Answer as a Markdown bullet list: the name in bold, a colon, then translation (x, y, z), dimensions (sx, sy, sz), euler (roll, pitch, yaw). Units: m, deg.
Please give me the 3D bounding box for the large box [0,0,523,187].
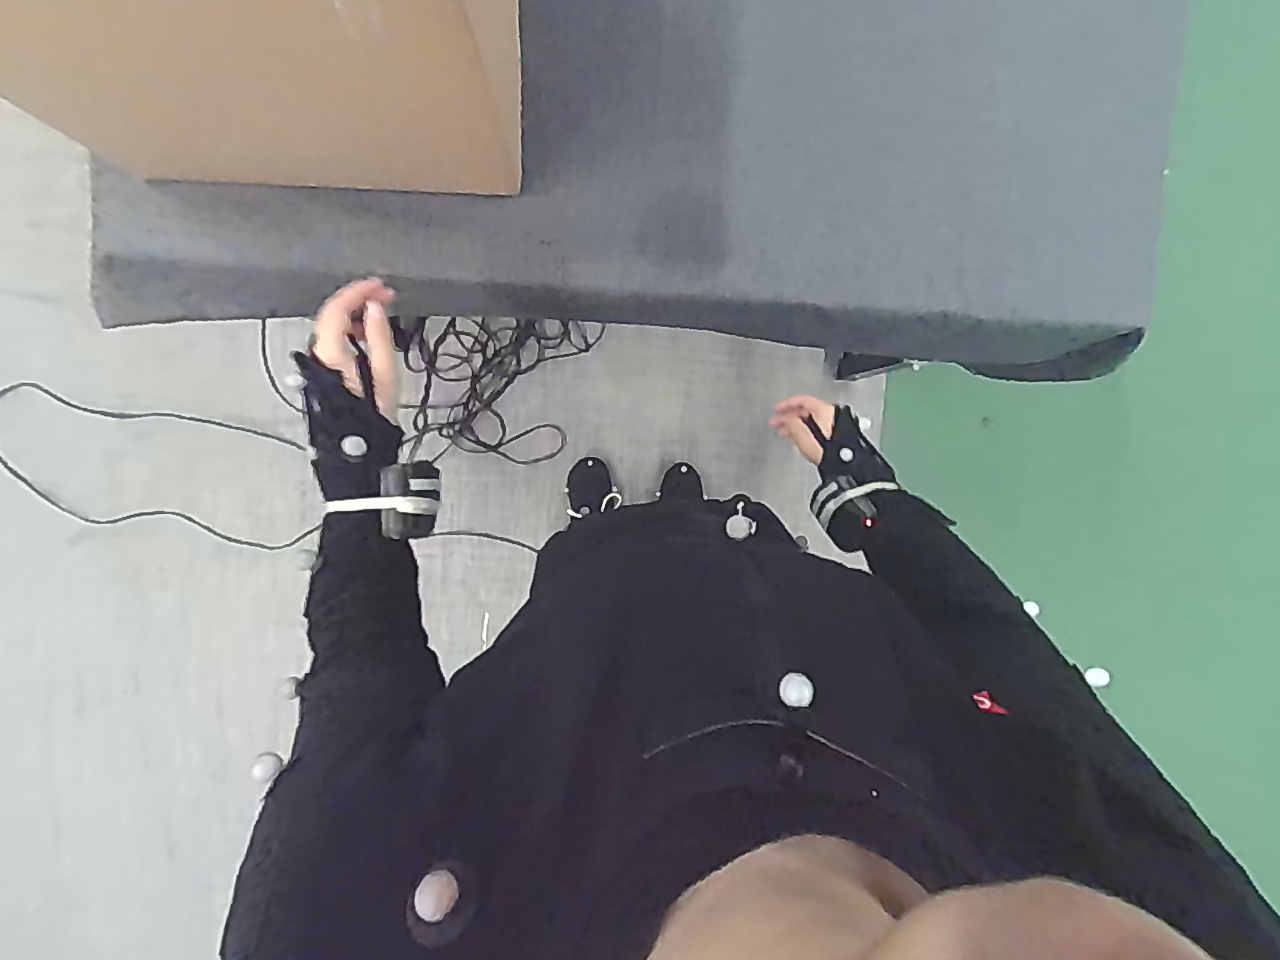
- **large box**: translation (-0.313, -0.461, 0.425), dimensions (0.408, 0.320, 0.320), euler (-1, 94, -6)
